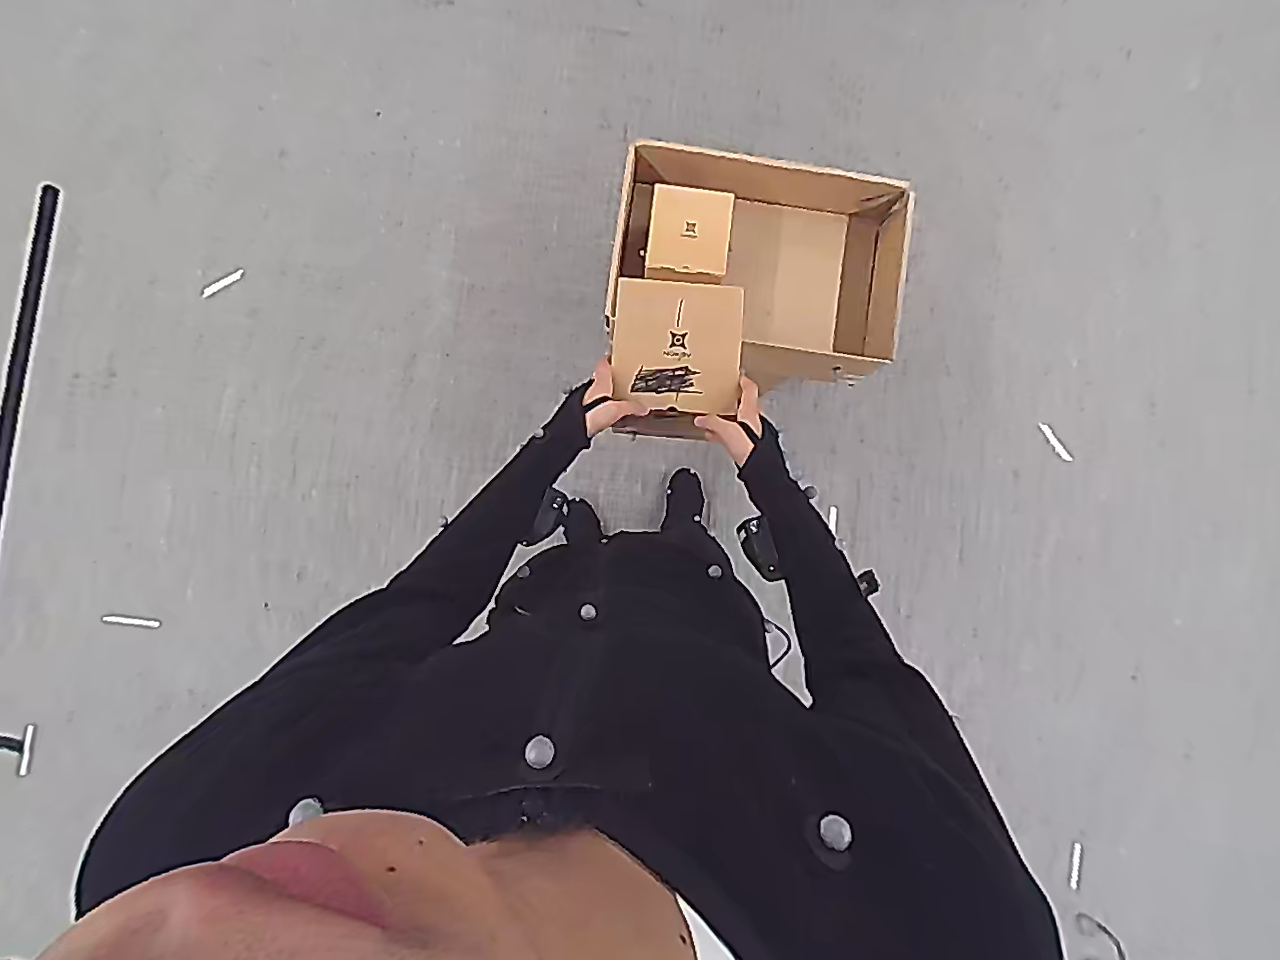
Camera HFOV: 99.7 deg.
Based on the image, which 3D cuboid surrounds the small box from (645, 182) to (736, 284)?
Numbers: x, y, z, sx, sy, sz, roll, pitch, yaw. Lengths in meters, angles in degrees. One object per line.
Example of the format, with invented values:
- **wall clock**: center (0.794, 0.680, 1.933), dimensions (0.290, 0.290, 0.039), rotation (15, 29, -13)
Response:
- **small box**: center (0.101, -0.506, 1.174), dimensions (0.168, 0.176, 0.179), rotation (7, 88, -2)

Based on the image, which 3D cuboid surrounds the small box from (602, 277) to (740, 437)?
- **small box**: center (0.041, -0.162, 0.764), dimensions (0.168, 0.176, 0.179), rotation (4, 84, 0)
